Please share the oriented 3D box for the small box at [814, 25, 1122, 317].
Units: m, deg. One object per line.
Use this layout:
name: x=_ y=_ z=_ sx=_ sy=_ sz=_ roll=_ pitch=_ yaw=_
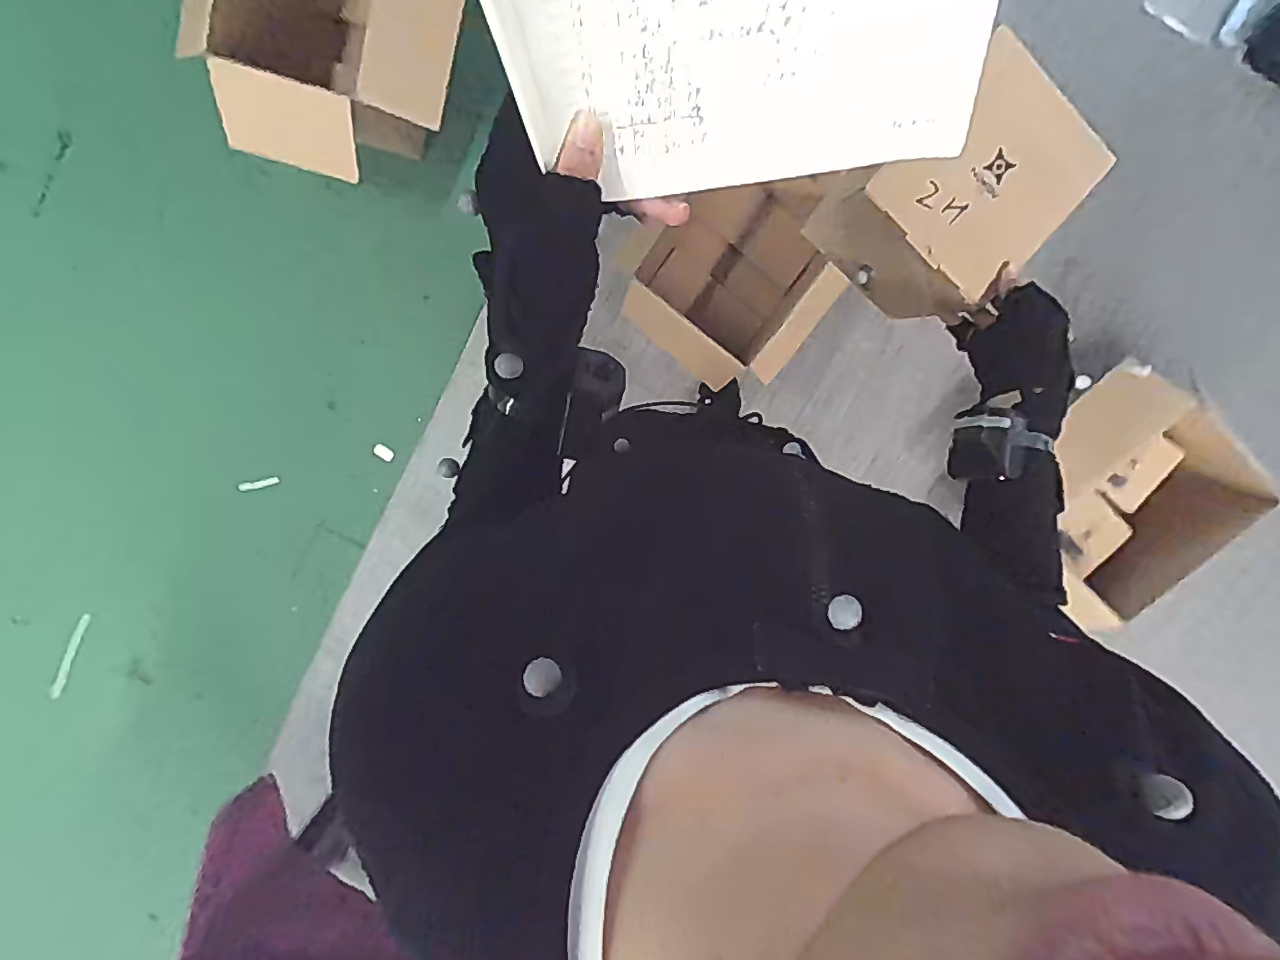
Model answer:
small box: x=0.316 y=-0.292 z=0.561 sx=0.168 sy=0.176 sz=0.179 roll=40 pitch=99 yaw=-11
